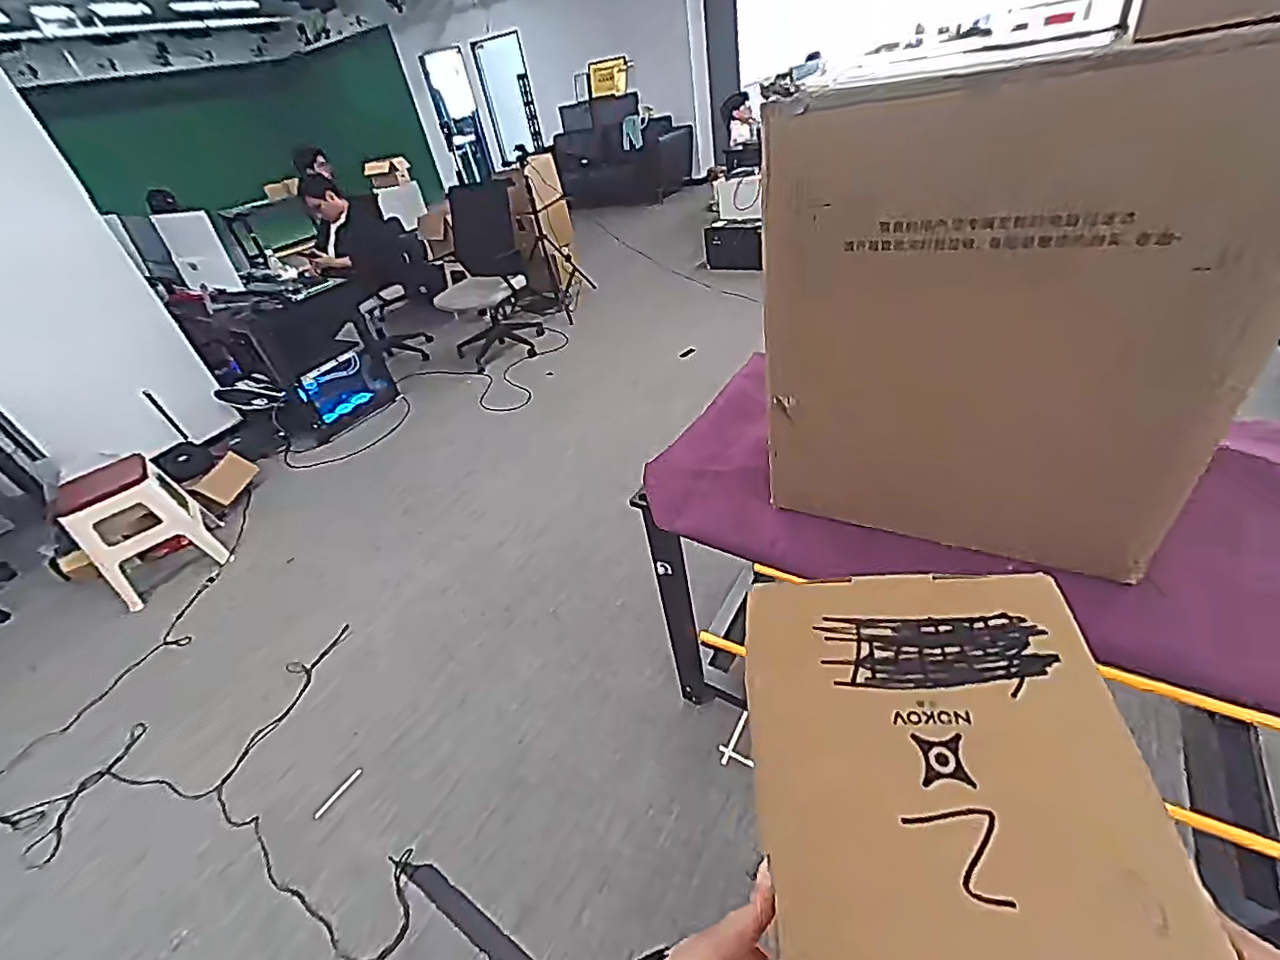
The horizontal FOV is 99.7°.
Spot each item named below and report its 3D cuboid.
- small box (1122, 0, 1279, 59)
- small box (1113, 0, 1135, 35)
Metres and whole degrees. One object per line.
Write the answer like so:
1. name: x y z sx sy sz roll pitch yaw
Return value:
1. small box: 0.518 -0.462 0.429 0.168 0.176 0.179 14 44 31
2. small box: 0.625 -0.589 0.565 0.168 0.176 0.179 14 44 32
